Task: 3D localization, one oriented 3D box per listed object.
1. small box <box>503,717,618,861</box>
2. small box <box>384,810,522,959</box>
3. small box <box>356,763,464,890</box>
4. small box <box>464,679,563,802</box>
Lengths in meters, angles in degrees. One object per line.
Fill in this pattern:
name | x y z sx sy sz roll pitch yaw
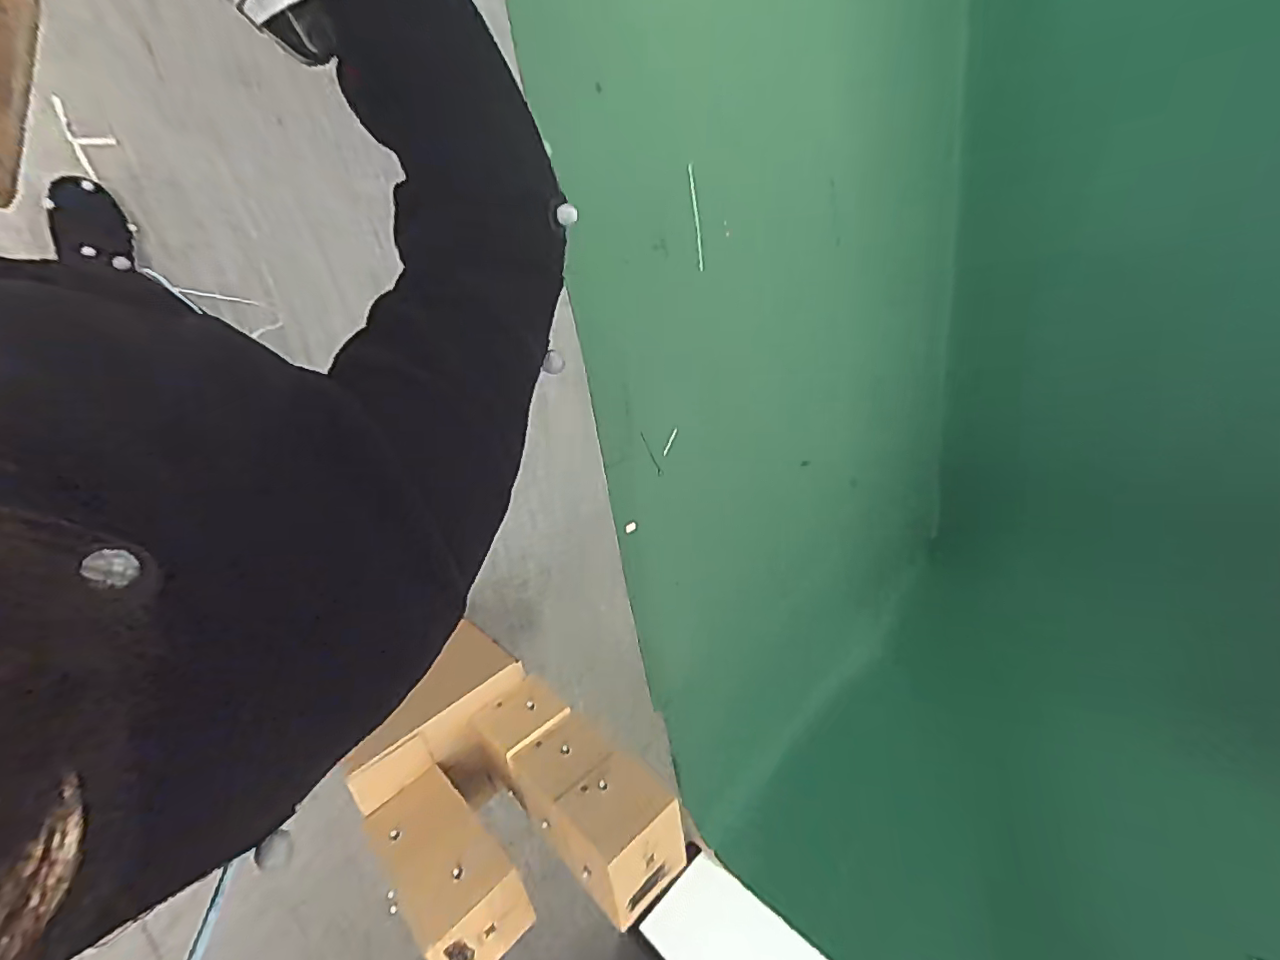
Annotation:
small box | -0.171 0.637 1.147 0.168 0.176 0.179 -24 117 -36
small box | -0.354 0.775 1.010 0.179 0.176 0.168 -29 121 -38
small box | -0.466 0.743 1.125 0.179 0.176 0.168 -30 121 -37
small box | -0.285 0.592 1.257 0.168 0.176 0.179 -26 119 -36
